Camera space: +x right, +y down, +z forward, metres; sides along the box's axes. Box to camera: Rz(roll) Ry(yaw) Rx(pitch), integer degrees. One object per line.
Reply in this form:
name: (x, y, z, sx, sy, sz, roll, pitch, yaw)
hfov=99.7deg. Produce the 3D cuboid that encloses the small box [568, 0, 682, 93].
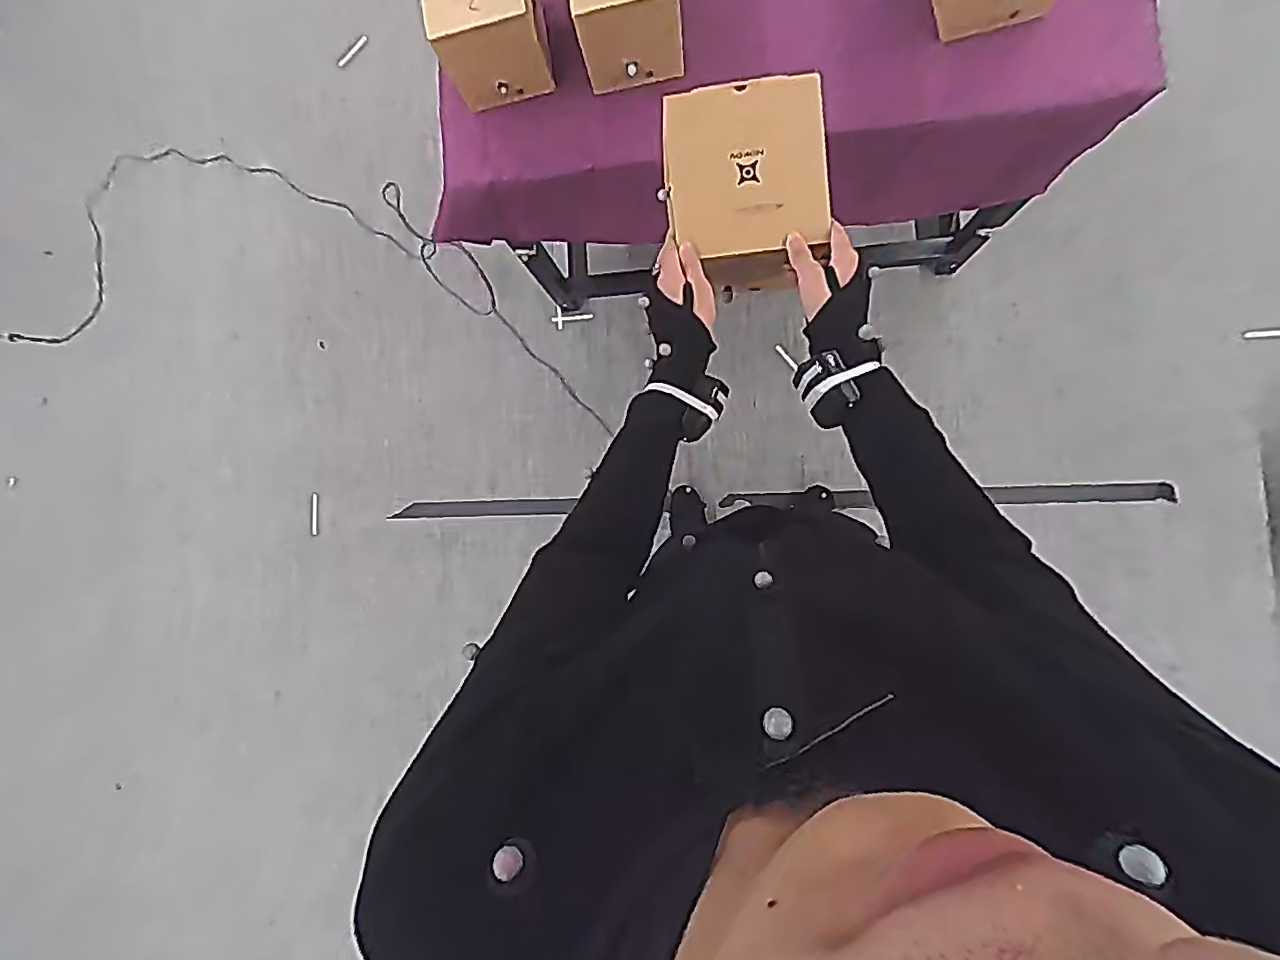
small box: (-0.025, -0.789, 0.885, 0.168, 0.176, 0.179, -7, 87, 8)

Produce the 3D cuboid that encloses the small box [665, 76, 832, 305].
small box: (0.117, -0.326, 0.643, 0.168, 0.176, 0.179, -5, 92, 4)

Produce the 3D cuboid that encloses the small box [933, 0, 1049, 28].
small box: (0.549, -0.825, 0.804, 0.168, 0.176, 0.179, -10, 86, 8)
